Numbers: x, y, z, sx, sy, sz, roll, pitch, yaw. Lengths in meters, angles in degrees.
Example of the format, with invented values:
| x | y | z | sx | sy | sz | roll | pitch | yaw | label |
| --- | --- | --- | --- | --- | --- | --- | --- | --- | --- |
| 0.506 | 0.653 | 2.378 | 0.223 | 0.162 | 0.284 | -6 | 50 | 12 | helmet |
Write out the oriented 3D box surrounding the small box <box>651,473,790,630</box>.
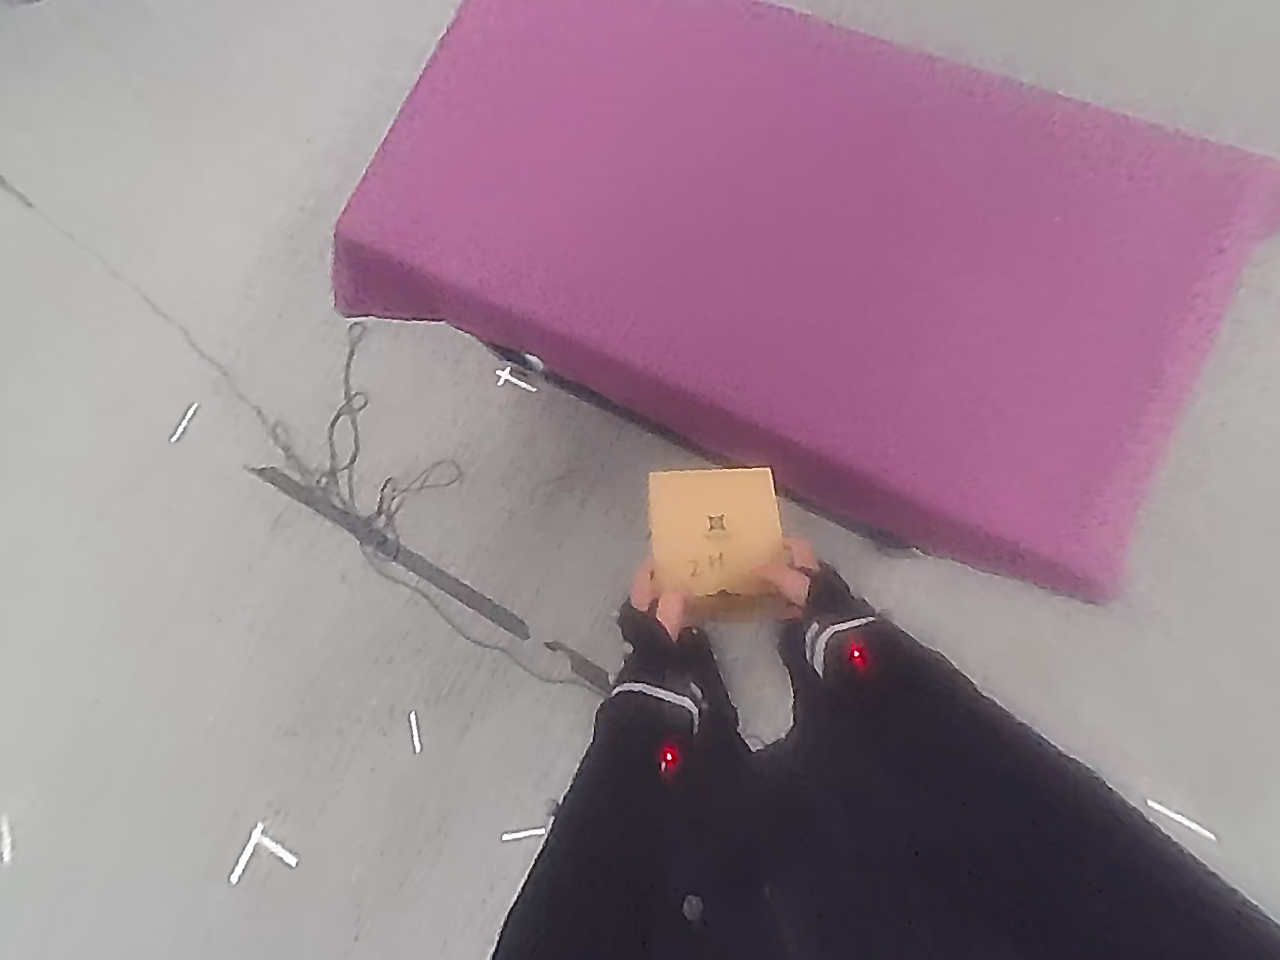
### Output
| x | y | z | sx | sy | sz | roll | pitch | yaw | label |
| --- | --- | --- | --- | --- | --- | --- | --- | --- | --- |
| 0.100 | 0.105 | 0.760 | 0.168 | 0.176 | 0.179 | -2 | 64 | 1 | small box |
